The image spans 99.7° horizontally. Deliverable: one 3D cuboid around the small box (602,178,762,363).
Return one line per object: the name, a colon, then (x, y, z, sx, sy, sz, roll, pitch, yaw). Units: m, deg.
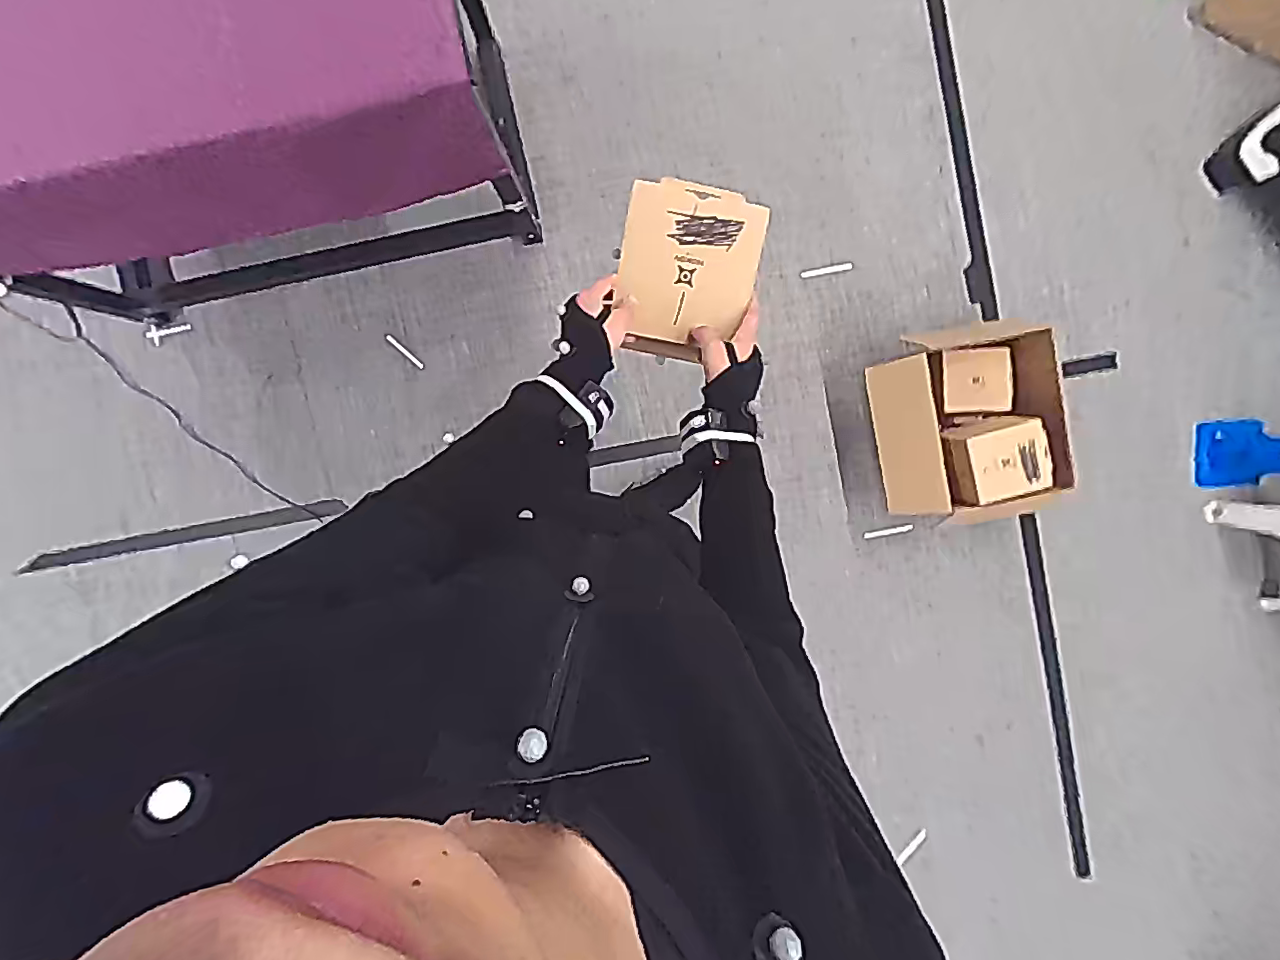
small box: (0.047, -0.261, 0.716, 0.168, 0.176, 0.179, 10, 98, -2)
